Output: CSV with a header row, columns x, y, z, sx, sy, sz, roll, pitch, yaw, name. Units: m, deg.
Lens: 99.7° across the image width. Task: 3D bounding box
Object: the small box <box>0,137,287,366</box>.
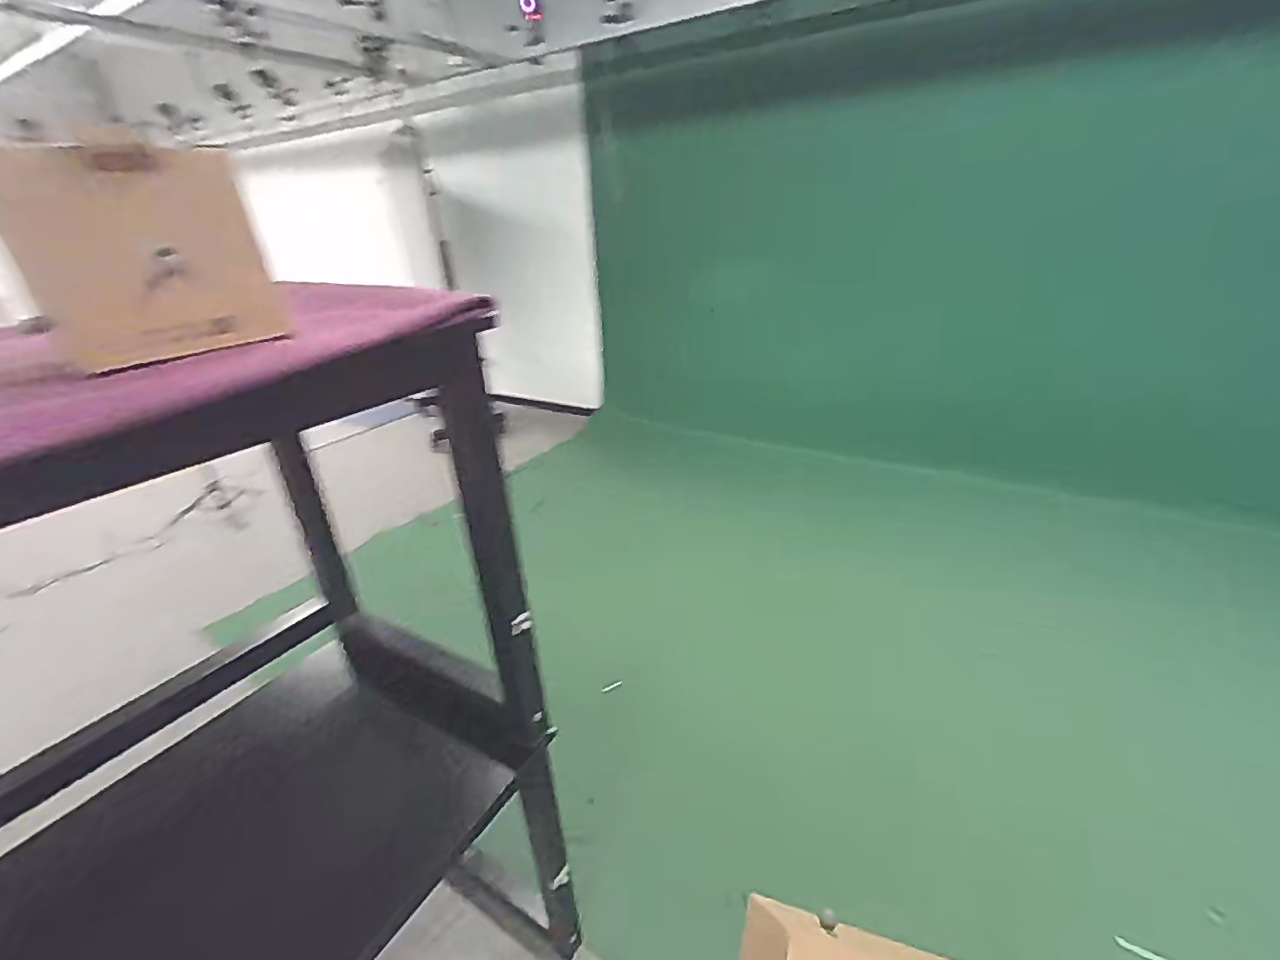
x,y,z,sx,sy,sz,roll,pitch,yaw,name
-0.472,-0.212,0.508,0.179,0.176,0.168,16,33,36,small box
